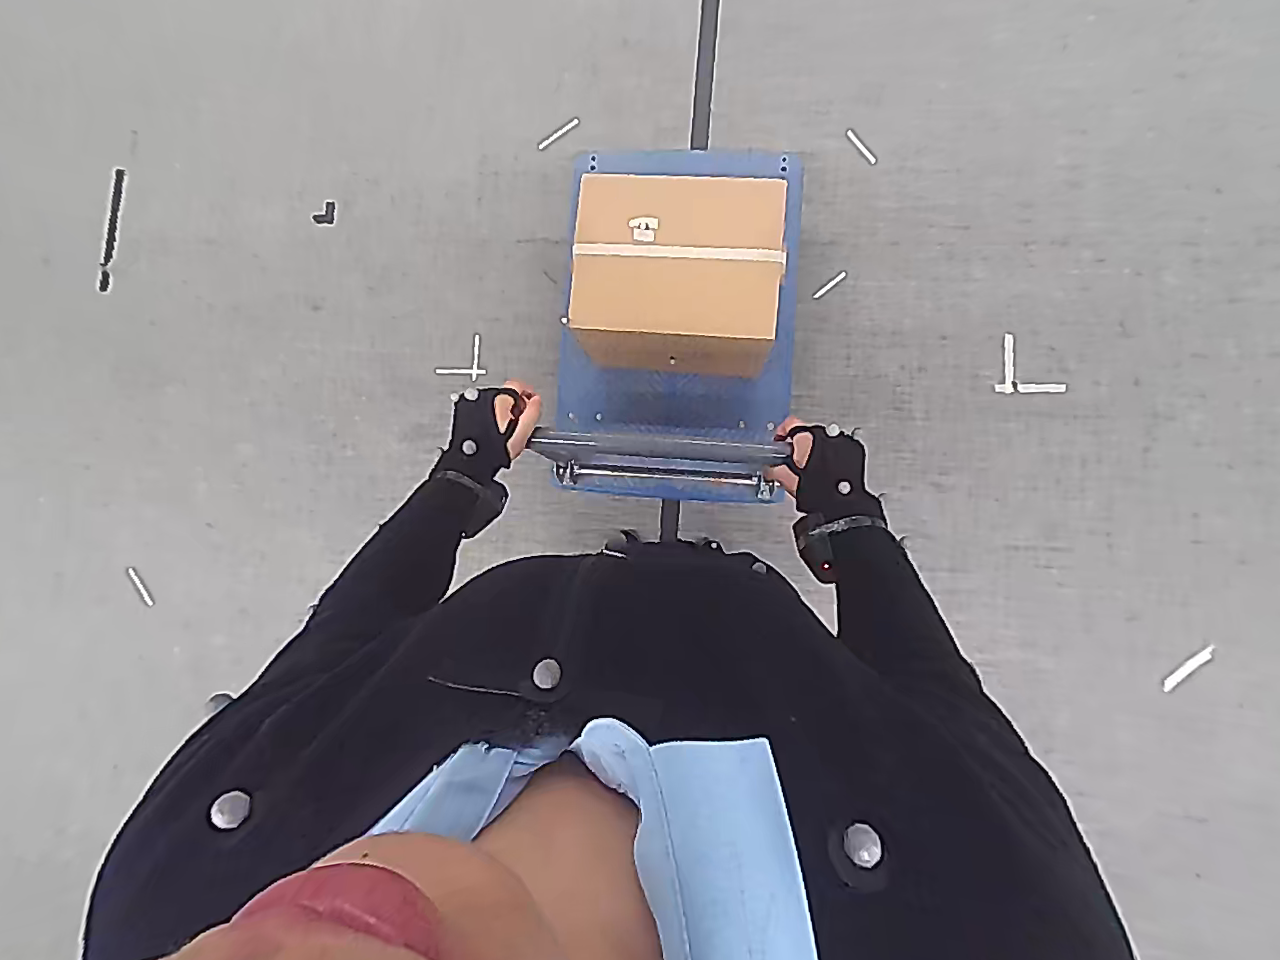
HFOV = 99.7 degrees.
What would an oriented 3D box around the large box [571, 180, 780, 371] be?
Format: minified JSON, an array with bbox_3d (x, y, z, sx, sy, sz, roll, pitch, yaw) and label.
[{"bbox_3d":[0.087,-0.436,1.215,0.408,0.320,0.320,5,87,7],"label":"large box"}]
